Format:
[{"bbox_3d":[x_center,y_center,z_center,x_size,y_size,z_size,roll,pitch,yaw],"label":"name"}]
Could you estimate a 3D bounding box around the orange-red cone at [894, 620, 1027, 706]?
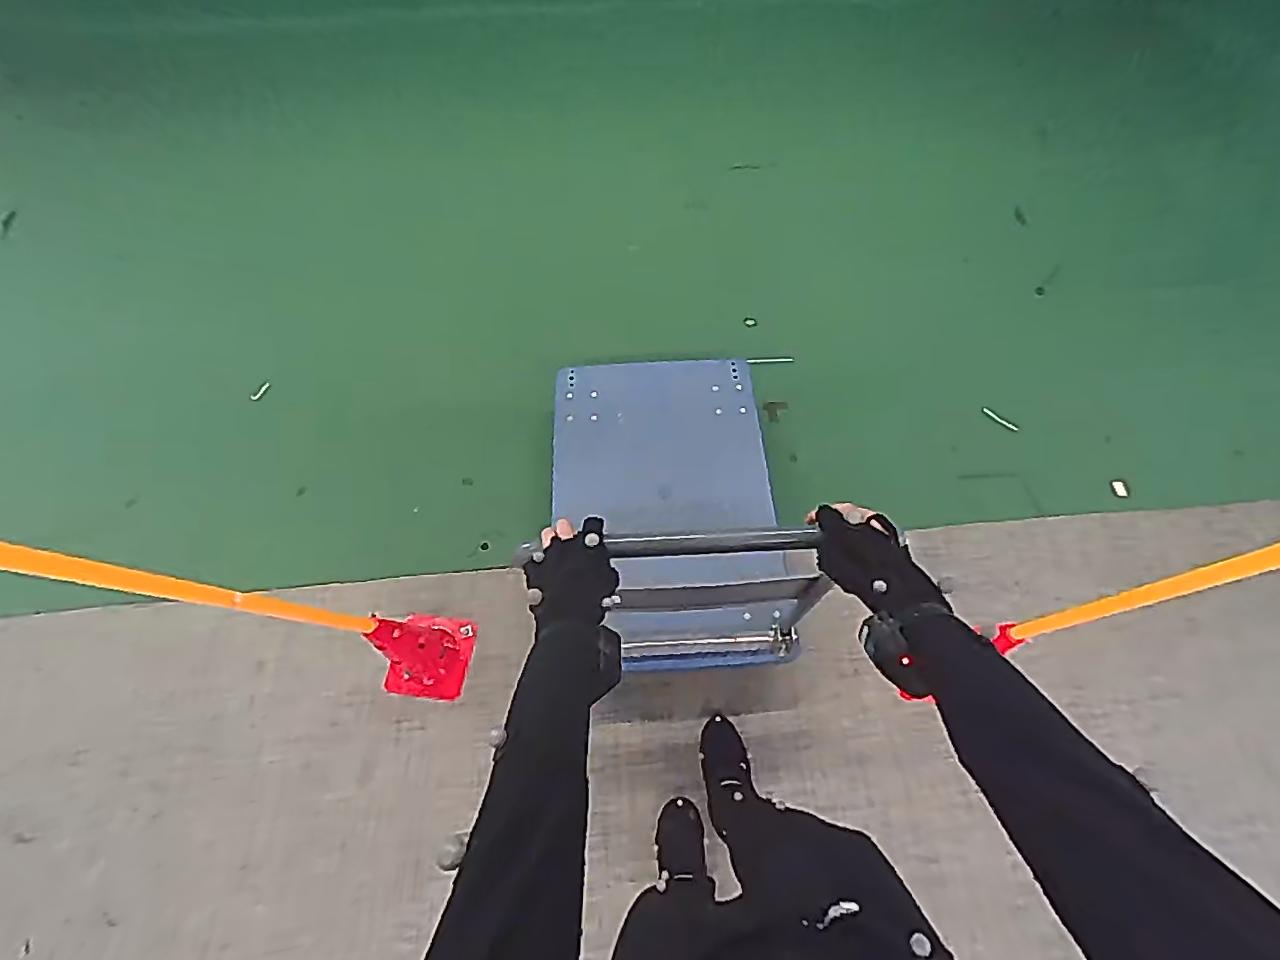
[{"bbox_3d":[0.754,0.387,1.229,0.198,0.360,0.199,5,63,4],"label":"orange-red cone"}]
